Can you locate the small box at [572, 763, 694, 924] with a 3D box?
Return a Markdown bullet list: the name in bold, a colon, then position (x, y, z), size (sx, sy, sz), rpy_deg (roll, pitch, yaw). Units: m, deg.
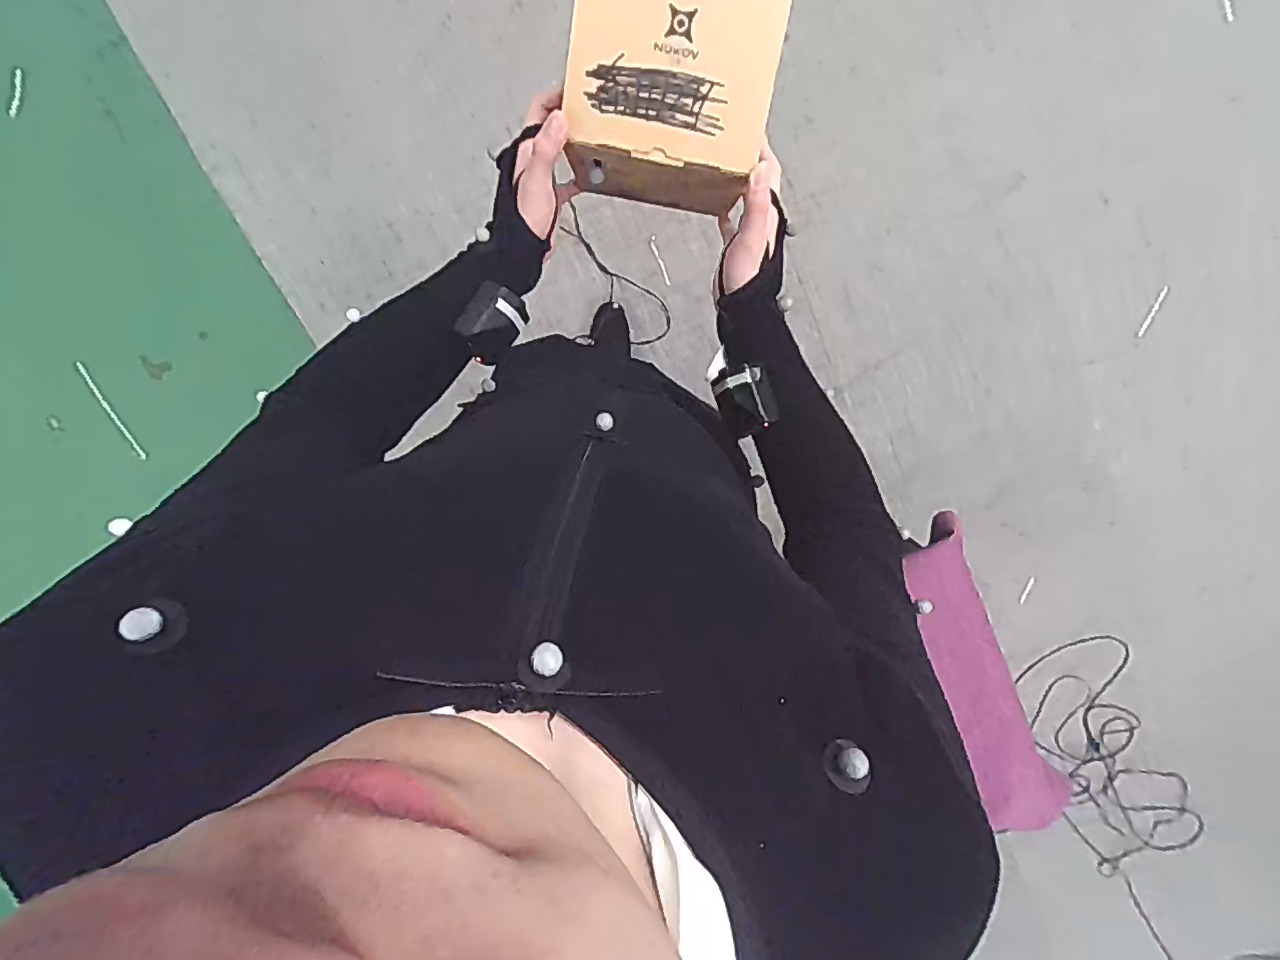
- **small box**: position (-0.012, 0.663, 1.004), size (0.179, 0.176, 0.168), rpy_deg (-18, 104, 5)
